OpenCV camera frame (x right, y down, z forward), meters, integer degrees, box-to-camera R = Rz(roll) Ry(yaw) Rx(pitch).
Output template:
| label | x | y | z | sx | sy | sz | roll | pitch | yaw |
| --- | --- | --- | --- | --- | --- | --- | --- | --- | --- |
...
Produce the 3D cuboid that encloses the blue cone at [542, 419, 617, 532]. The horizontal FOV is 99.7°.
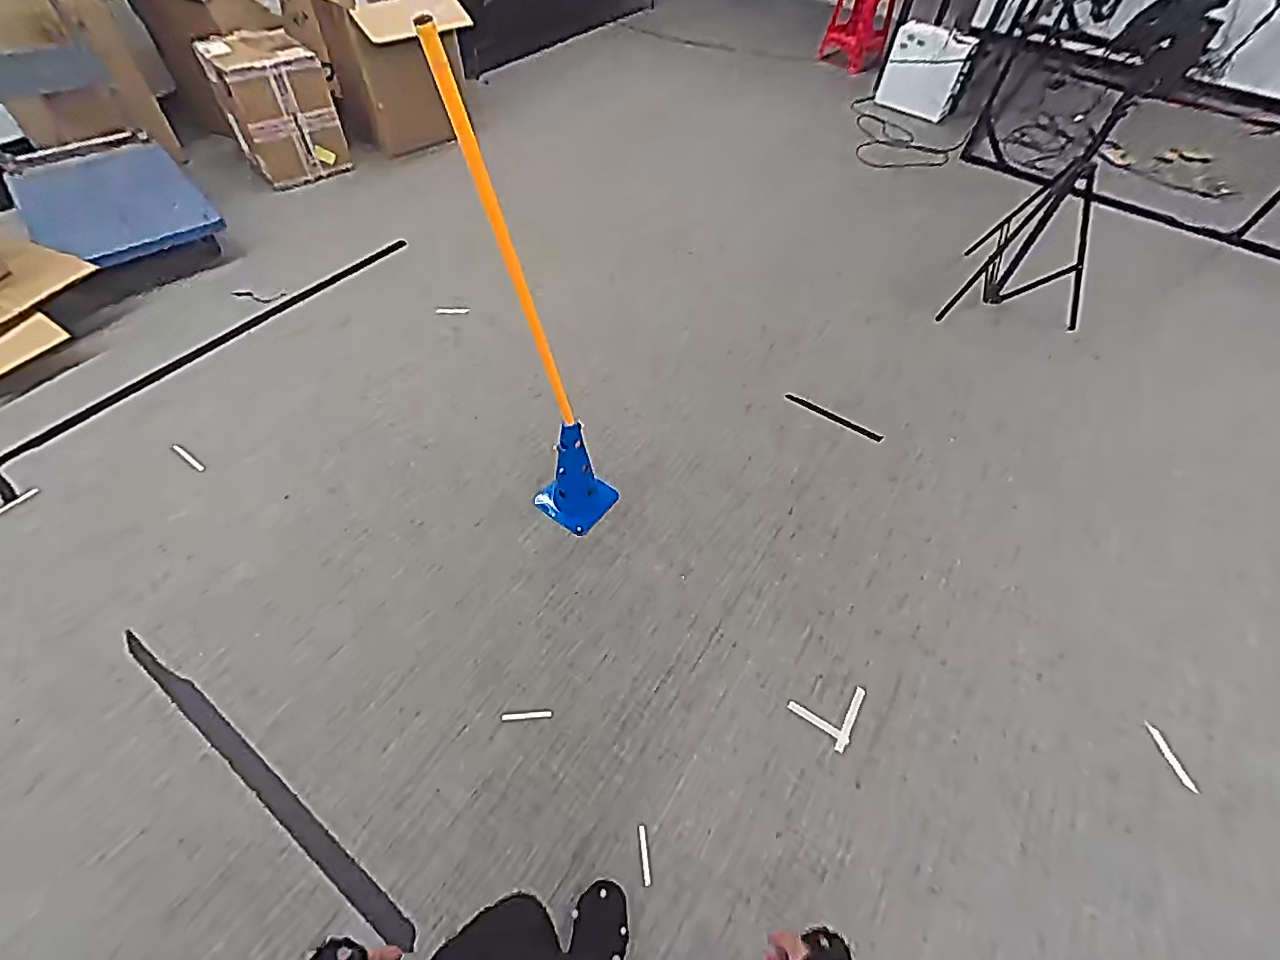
| label | x | y | z | sx | sy | sz | roll | pitch | yaw |
| --- | --- | --- | --- | --- | --- | --- | --- | --- | --- |
| blue cone | -0.179 | -0.040 | 1.534 | 0.192 | 0.380 | 0.193 | 34 | 60 | 19 |
